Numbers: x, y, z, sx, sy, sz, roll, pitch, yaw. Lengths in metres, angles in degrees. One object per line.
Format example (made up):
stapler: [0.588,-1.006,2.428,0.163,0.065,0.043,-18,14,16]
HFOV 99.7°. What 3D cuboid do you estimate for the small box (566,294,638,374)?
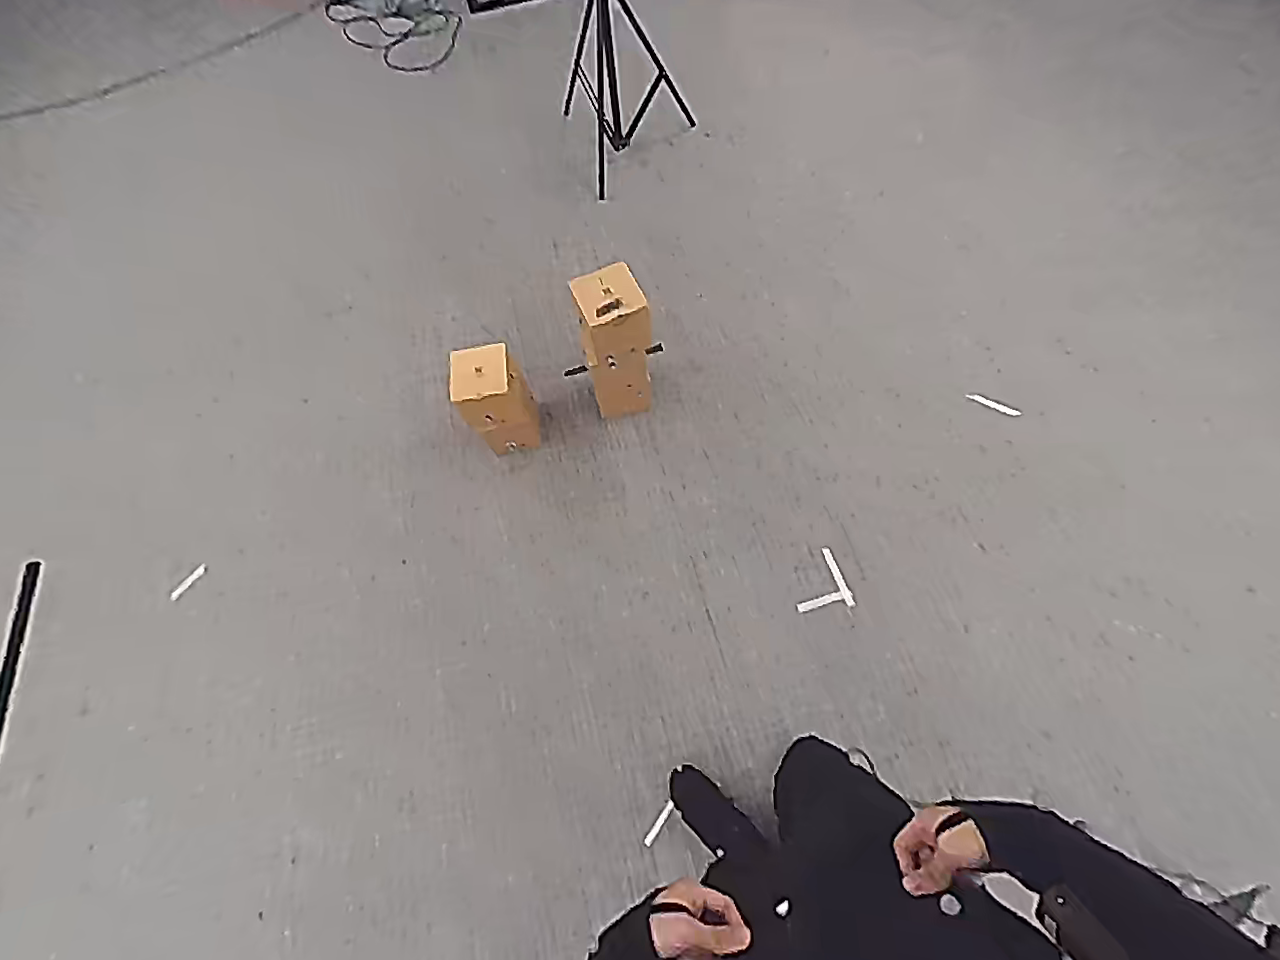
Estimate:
small box: [-0.108,-0.442,1.579,0.168,0.176,0.179,-16,66,-3]

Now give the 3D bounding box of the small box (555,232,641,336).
small box: [-0.104,-0.506,1.426,0.168,0.176,0.179,-23,67,-6]

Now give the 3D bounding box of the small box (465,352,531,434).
small box: [-0.454,-0.271,1.711,0.168,0.176,0.179,-13,66,-1]

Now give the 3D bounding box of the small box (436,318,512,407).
small box: [-0.477,-0.336,1.564,0.168,0.176,0.179,-10,67,1]
